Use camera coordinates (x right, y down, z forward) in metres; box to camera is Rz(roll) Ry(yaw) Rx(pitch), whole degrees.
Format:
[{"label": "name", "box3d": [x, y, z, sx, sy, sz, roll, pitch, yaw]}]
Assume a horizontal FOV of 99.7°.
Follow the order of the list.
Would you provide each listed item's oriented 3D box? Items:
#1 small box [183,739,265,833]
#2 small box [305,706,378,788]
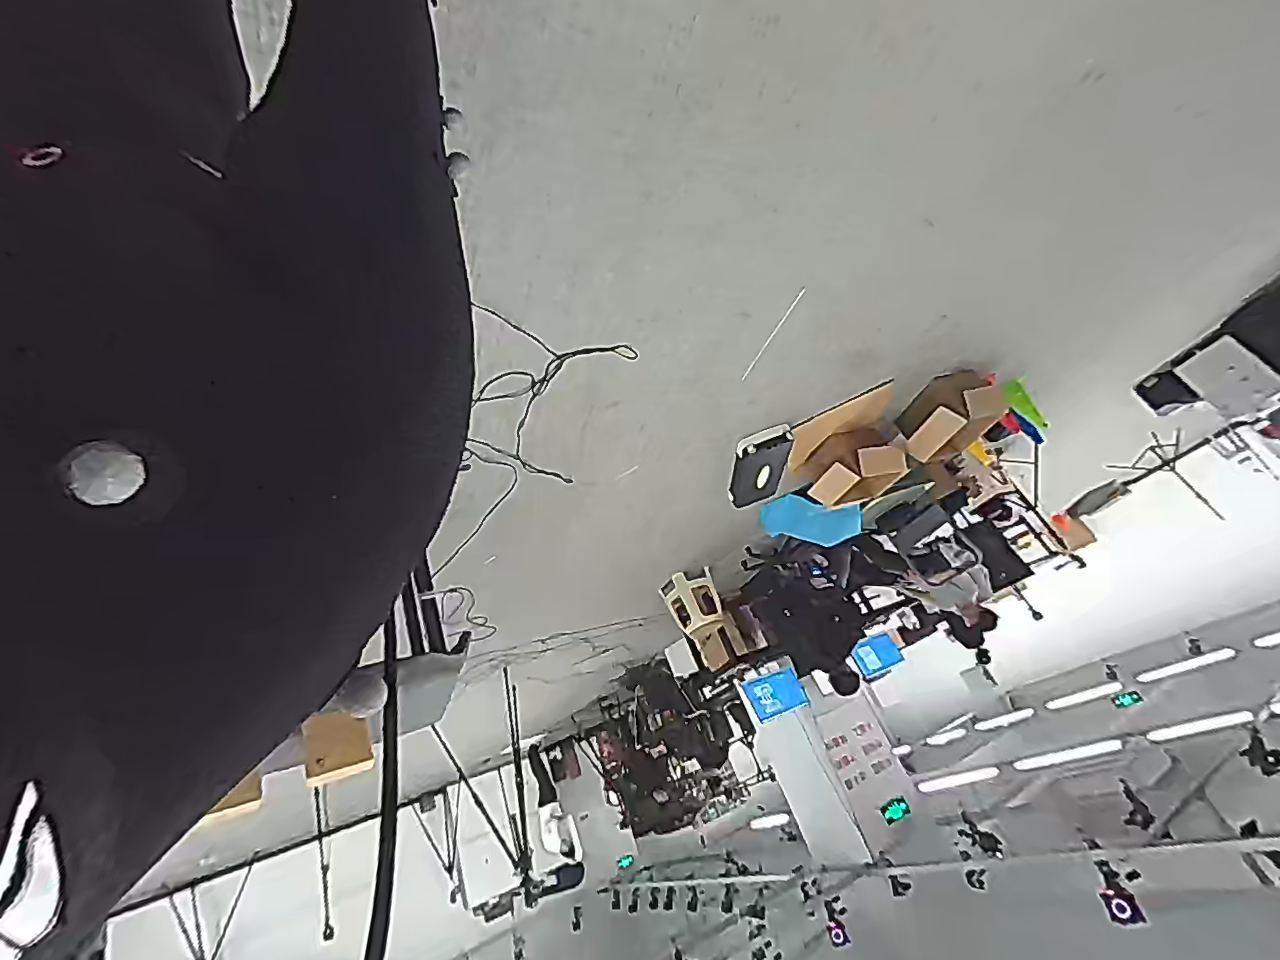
[{"label": "small box", "box3d": [-1.174, 0.859, 1.525, 0.179, 0.176, 0.168, 0, 146, -39]}, {"label": "small box", "box3d": [-0.903, 0.802, 1.633, 0.179, 0.176, 0.168, -4, 148, -31]}]
